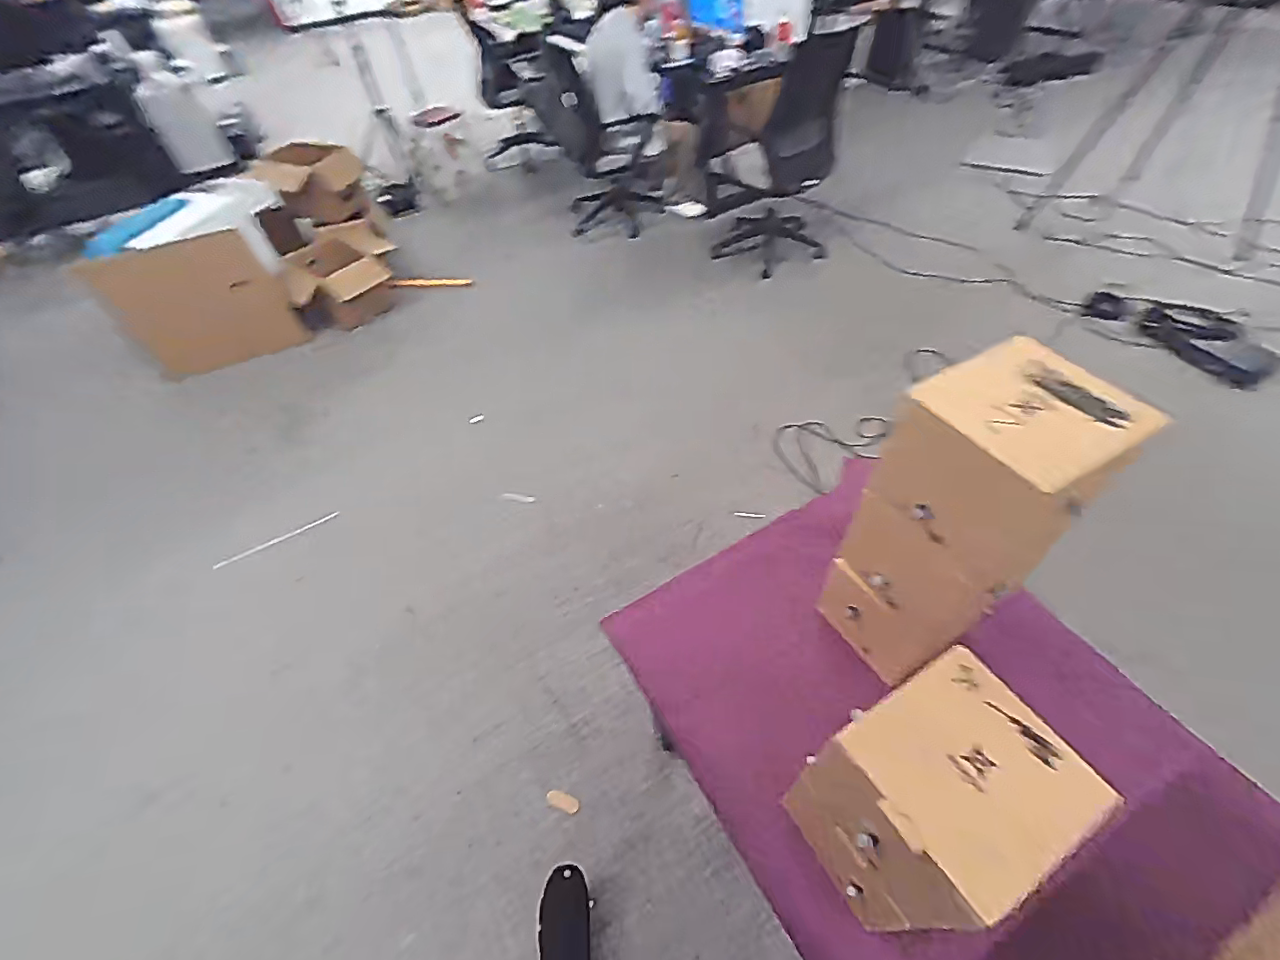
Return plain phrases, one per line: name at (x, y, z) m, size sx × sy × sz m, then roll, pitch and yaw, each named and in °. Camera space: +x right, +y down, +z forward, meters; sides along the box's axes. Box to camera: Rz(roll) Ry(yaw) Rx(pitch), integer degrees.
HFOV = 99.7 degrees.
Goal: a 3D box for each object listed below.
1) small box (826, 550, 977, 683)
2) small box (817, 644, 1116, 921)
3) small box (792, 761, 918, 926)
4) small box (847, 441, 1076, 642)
small box at (0.416, 0.187, 0.853) m, size 0.179 × 0.176 × 0.168 m, roll -27°, pitch 52°, yaw -17°
small box at (0.301, 0.306, 0.546) m, size 0.179 × 0.176 × 0.168 m, roll -26°, pitch 53°, yaw -16°
small box at (0.308, 0.413, 0.669) m, size 0.179 × 0.176 × 0.168 m, roll -24°, pitch 52°, yaw -17°
small box at (0.410, 0.083, 0.725) m, size 0.179 × 0.176 × 0.168 m, roll -24°, pitch 51°, yaw -14°
